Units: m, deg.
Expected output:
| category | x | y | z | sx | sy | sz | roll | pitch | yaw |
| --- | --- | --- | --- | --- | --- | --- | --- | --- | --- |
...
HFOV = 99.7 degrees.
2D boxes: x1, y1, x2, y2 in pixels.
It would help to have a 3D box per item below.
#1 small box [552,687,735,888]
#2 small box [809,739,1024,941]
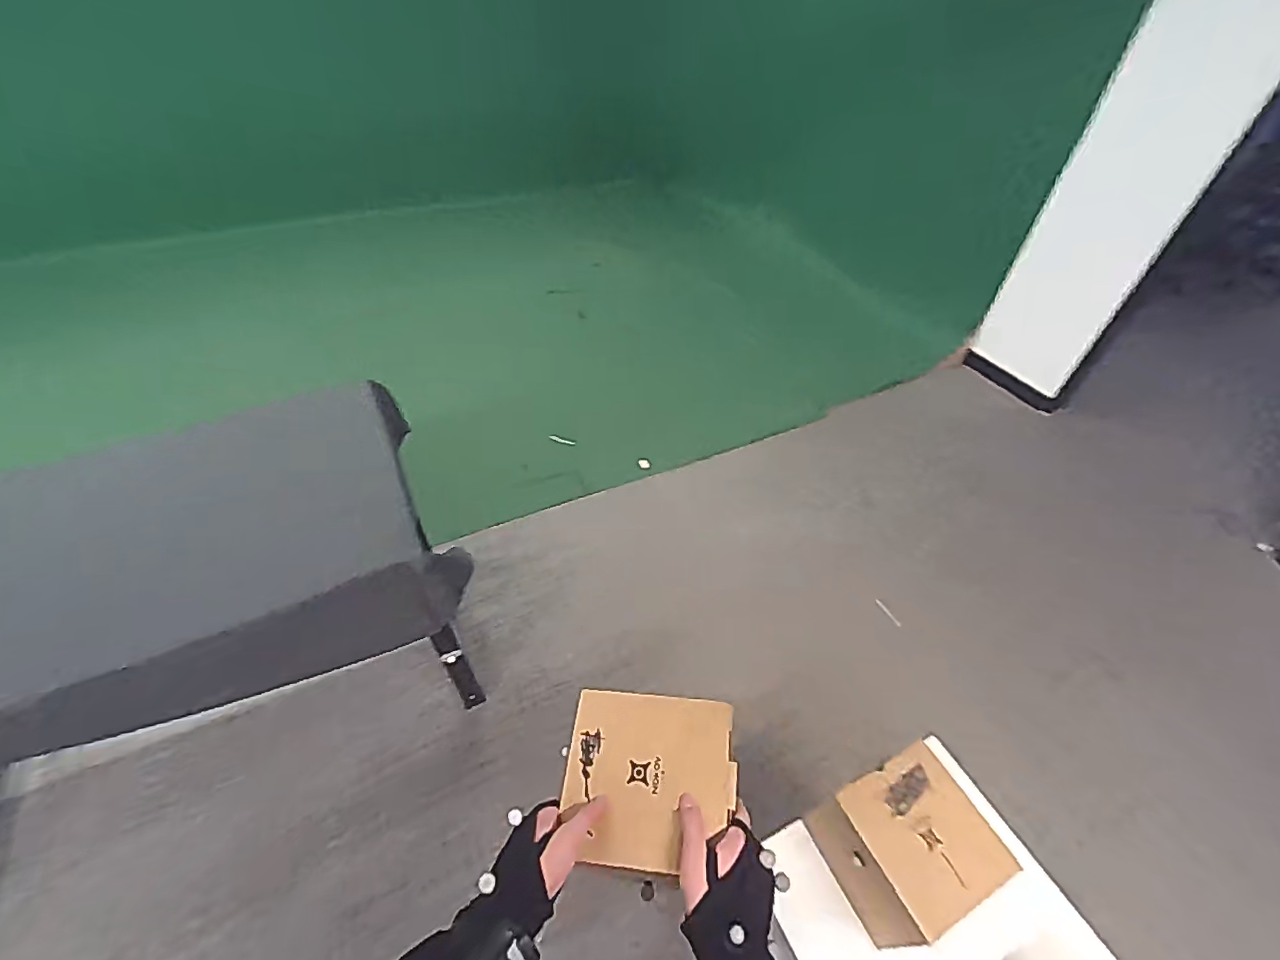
| category | x | y | z | sx | sy | sz | roll | pitch | yaw |
| --- | --- | --- | --- | --- | --- | --- | --- | --- | --- |
| small box | 0.013 | 0.356 | 0.623 | 0.179 | 0.176 | 0.168 | 3 | 51 | 7 |
| small box | 0.367 | 0.504 | 0.757 | 0.168 | 0.176 | 0.179 | -18 | 53 | -19 |
